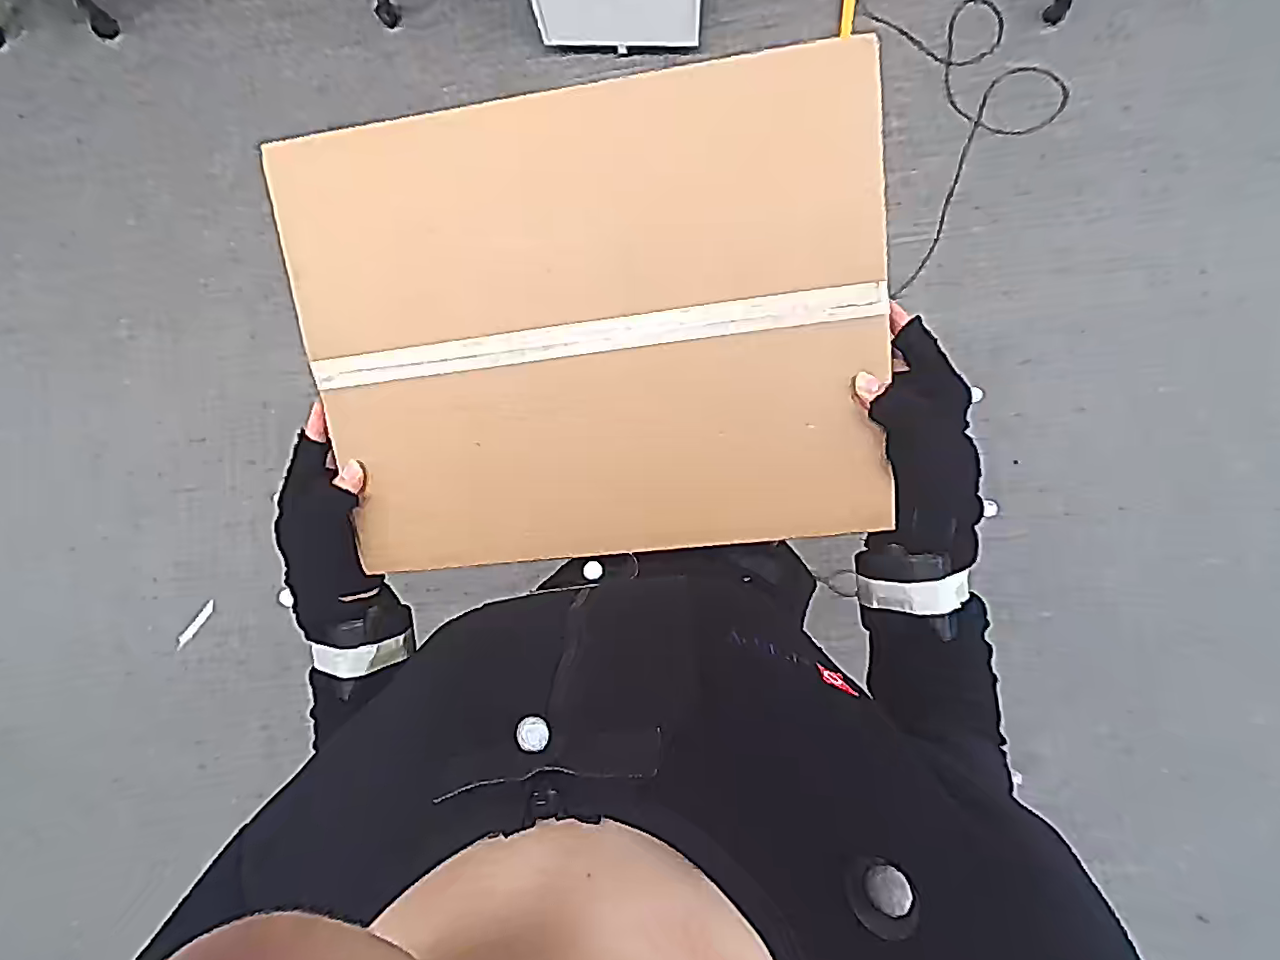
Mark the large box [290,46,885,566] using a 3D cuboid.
[{"bbox_3d":[-0.024,-0.130,0.533,0.408,0.320,0.320,-6,102,7],"label":"large box"}]
